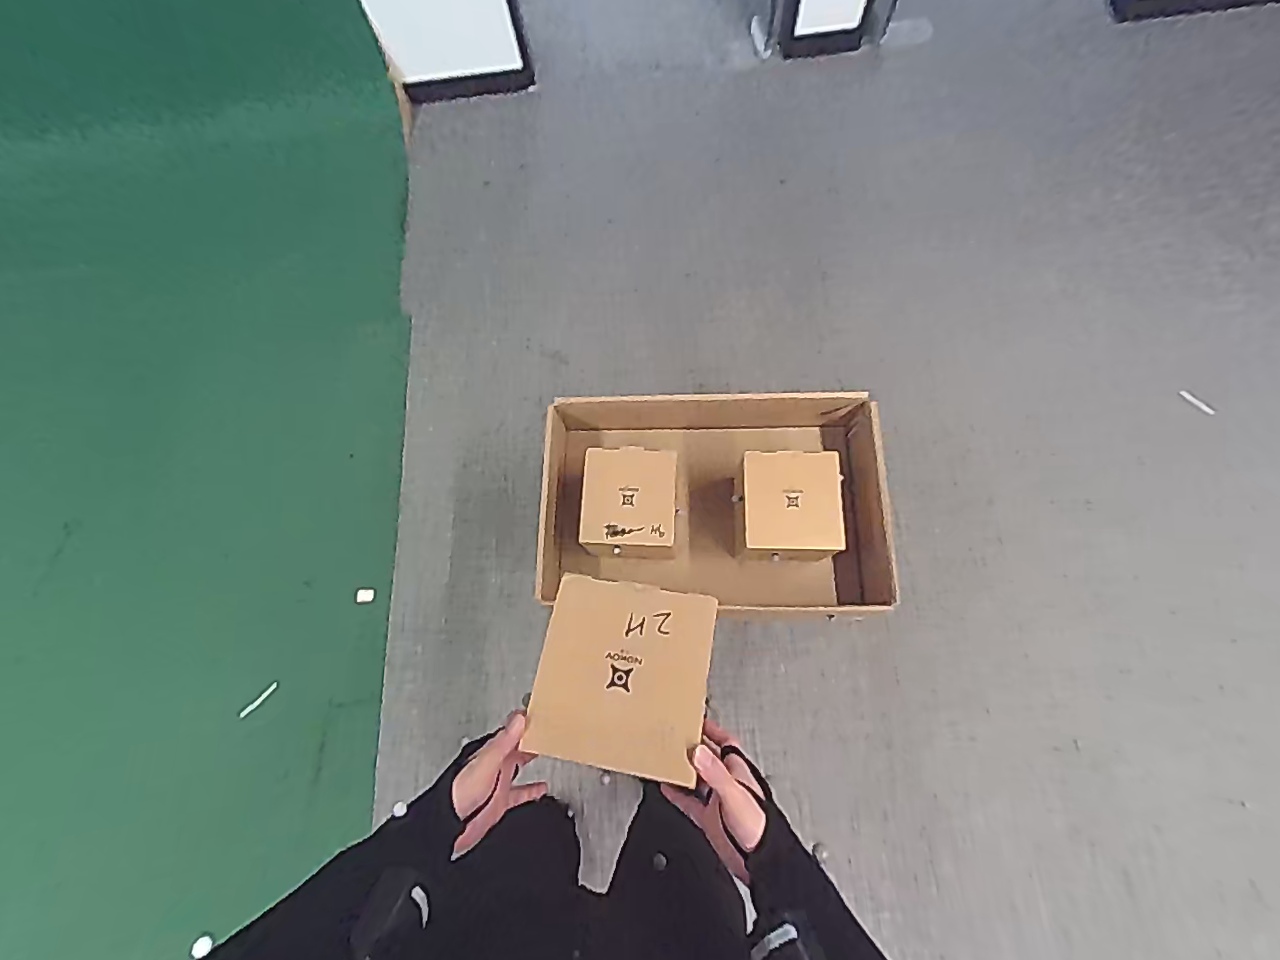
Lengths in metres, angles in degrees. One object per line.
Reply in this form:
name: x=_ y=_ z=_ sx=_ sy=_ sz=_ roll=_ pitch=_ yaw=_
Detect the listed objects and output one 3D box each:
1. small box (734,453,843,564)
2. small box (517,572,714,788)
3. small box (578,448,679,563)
small box: x=0.265 y=0.059 z=1.000 sx=0.168 sy=0.176 sz=0.179 roll=0 pitch=73 yaw=5
small box: x=-0.015 y=0.223 z=0.596 sx=0.168 sy=0.176 sz=0.179 roll=9 pitch=62 yaw=7
small box: x=-0.013 y=0.053 z=1.020 sx=0.168 sy=0.176 sz=0.179 roll=2 pitch=73 yaw=6
